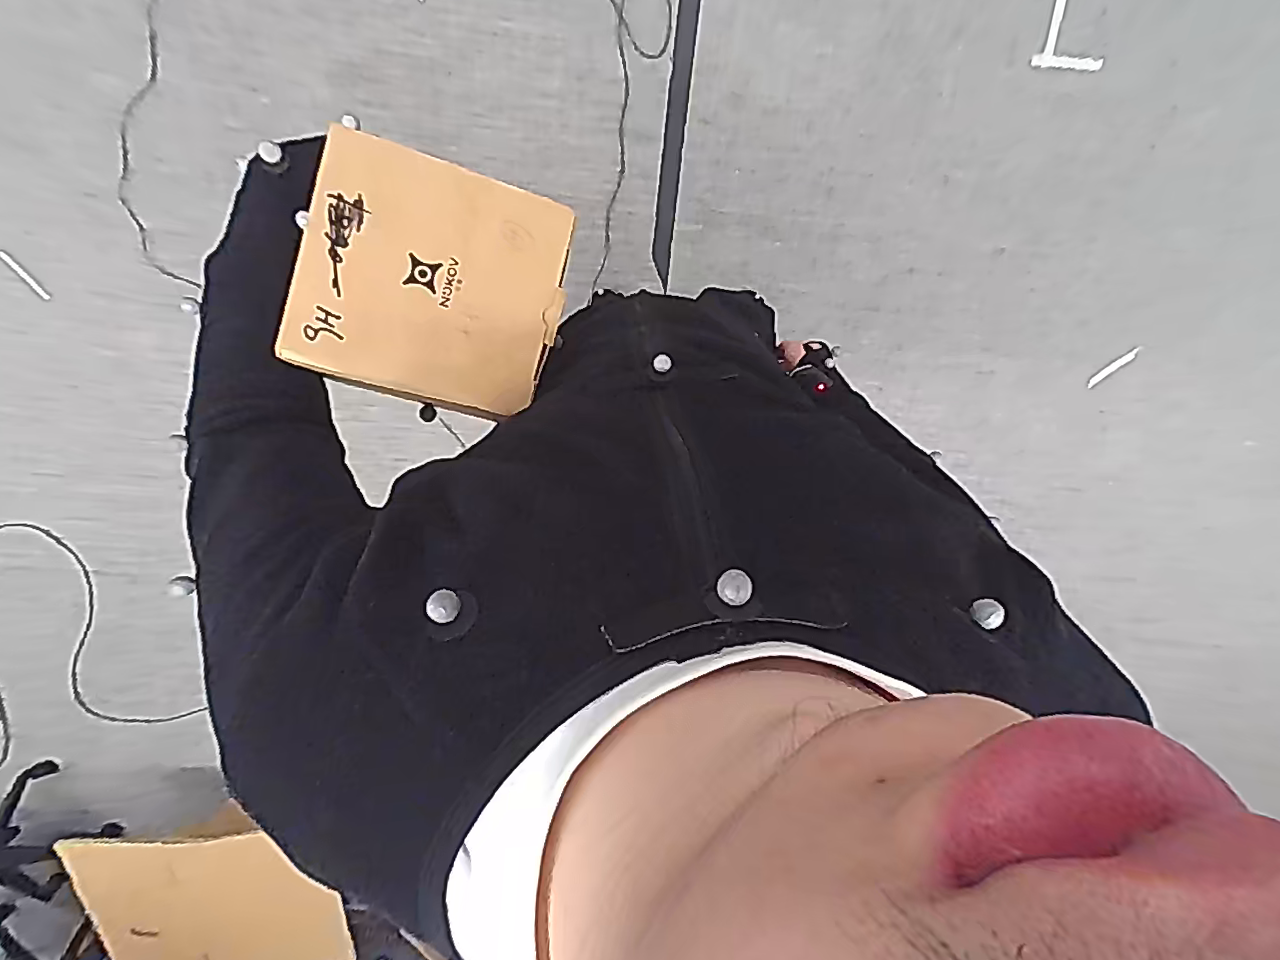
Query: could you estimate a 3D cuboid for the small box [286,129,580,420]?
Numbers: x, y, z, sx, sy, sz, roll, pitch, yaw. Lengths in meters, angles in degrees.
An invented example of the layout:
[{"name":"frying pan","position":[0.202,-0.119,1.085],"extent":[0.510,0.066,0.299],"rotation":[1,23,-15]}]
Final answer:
[{"name":"small box","position":[-0.166,-0.152,0.472],"extent":[0.179,0.176,0.168],"rotation":[13,90,-15]}]
